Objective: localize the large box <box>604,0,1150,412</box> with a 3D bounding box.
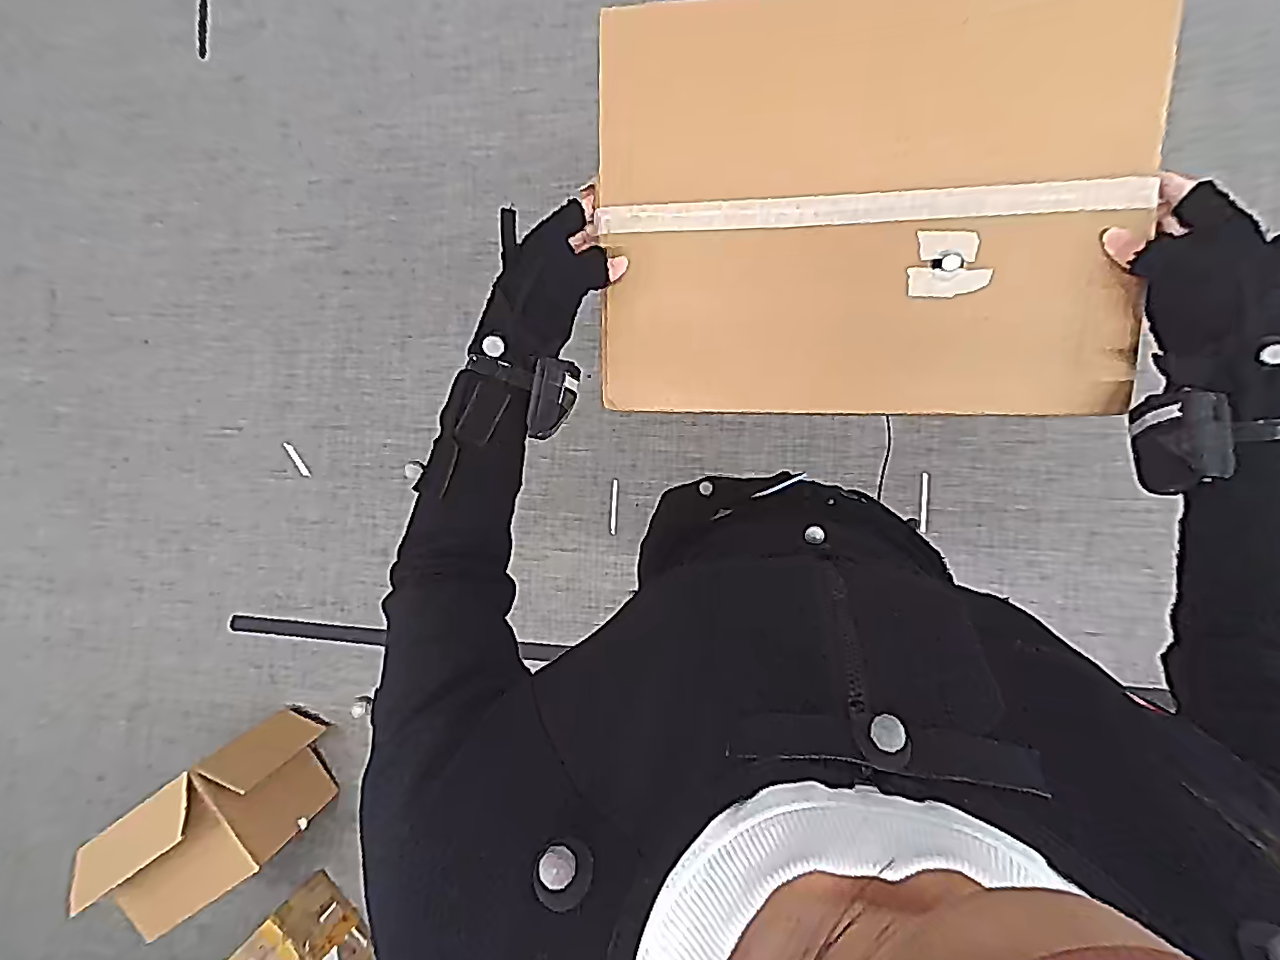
[{"bbox_3d":[0.189,-0.234,0.576,0.408,0.320,0.320,1,99,9],"label":"large box"}]
